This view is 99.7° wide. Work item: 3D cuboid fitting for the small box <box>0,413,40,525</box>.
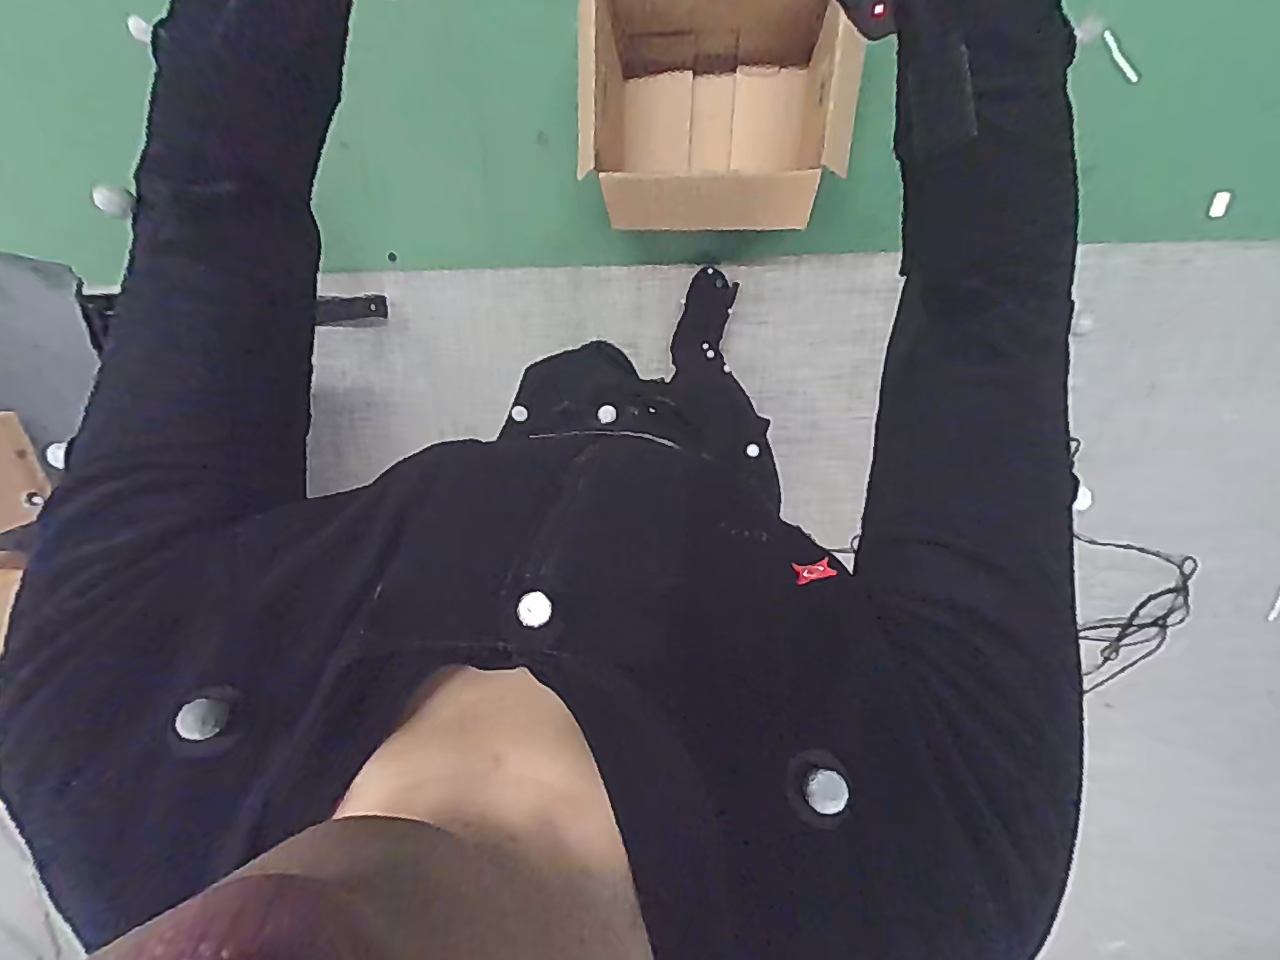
[{"bbox_3d":[-1.029,-0.003,0.768,0.179,0.176,0.168,1,111,8],"label":"small box"}]
